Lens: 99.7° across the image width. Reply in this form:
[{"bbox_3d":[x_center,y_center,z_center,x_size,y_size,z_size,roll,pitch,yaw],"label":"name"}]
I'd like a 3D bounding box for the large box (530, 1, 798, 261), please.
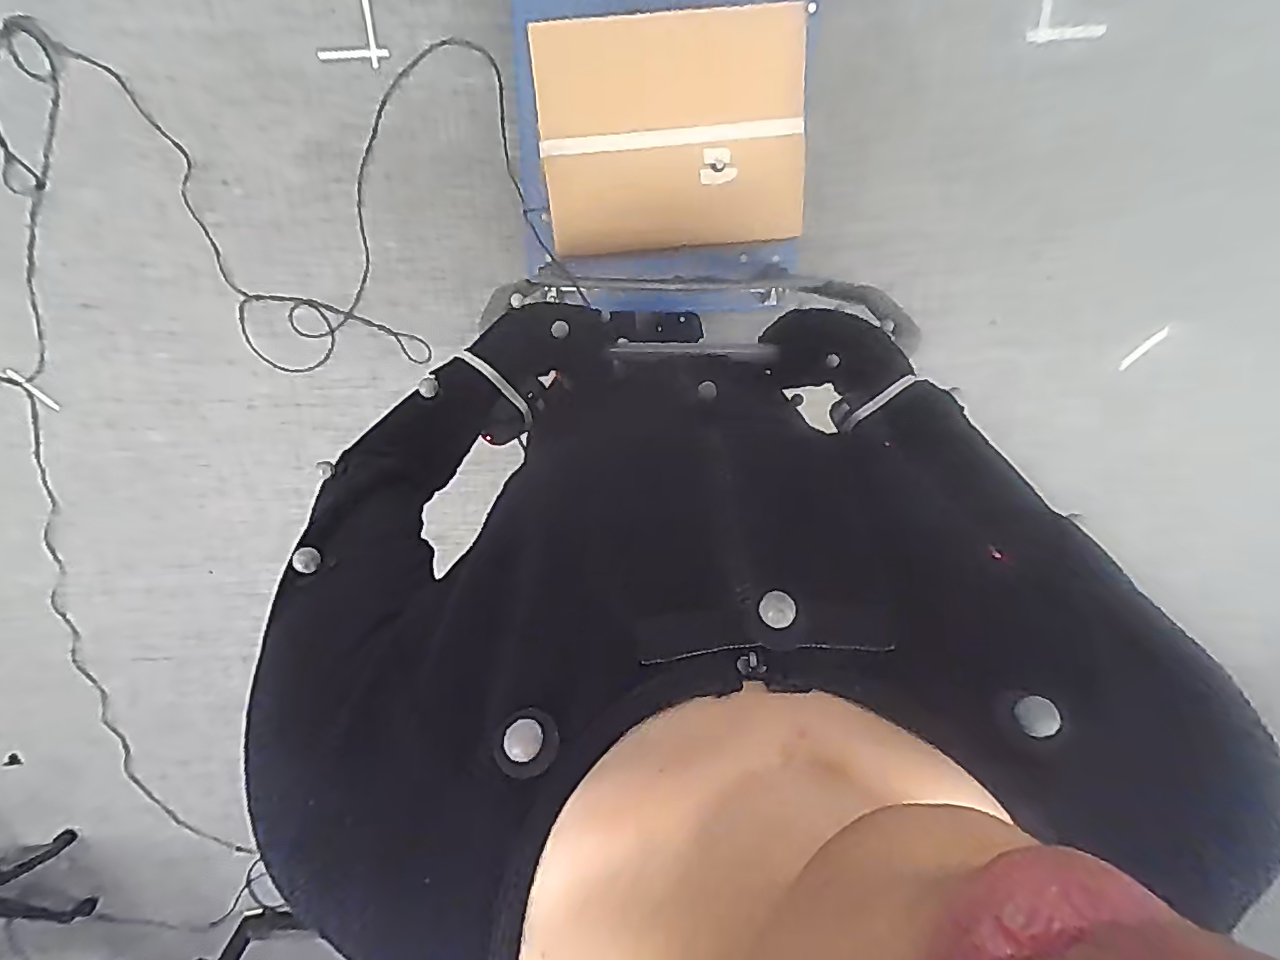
[{"bbox_3d":[0.041,-0.590,0.983,0.408,0.320,0.320,-6,111,-1],"label":"large box"}]
